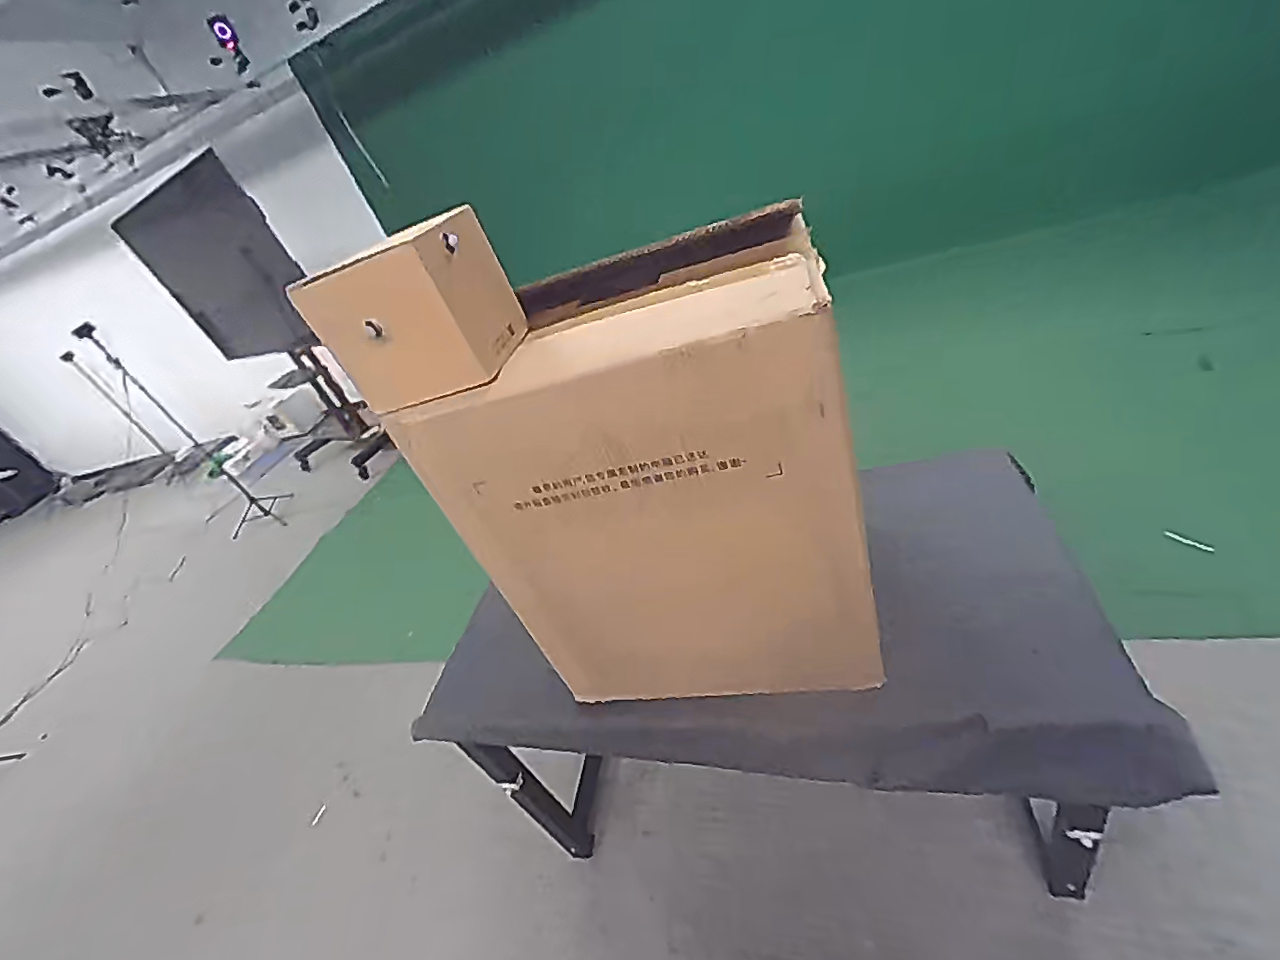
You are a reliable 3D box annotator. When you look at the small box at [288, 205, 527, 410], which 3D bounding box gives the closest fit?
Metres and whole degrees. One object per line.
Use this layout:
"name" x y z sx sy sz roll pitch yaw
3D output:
"small box" -0.271 -0.208 0.673 0.179 0.176 0.168 -13 36 18
